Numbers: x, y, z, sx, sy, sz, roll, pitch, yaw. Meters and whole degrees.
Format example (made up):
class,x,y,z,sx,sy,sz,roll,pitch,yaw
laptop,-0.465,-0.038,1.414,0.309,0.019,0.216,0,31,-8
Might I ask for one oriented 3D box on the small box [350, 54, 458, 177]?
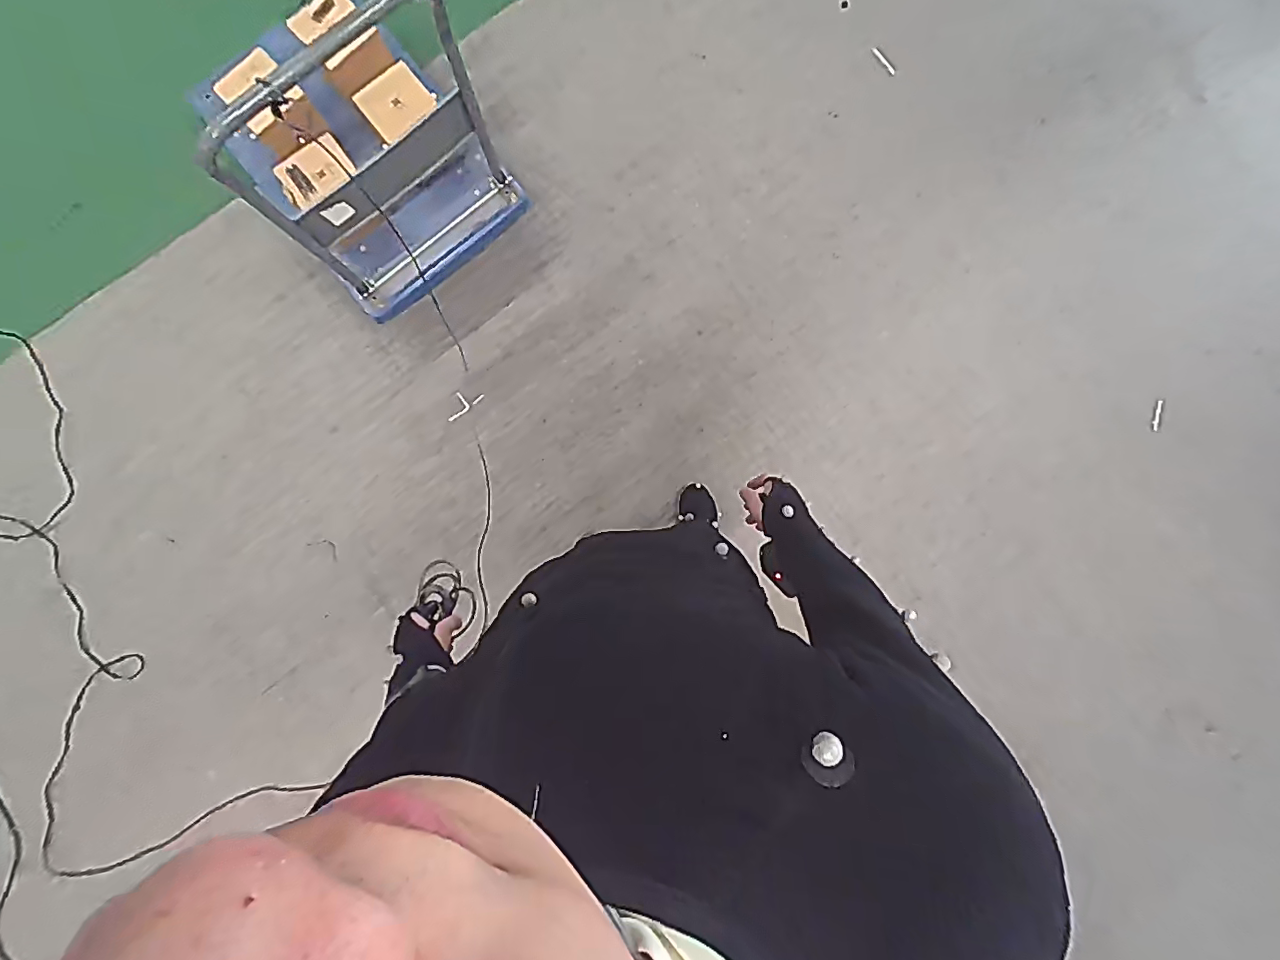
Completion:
class,x,y,z,sx,sy,sz,roll,pitch,yaw
small box,-0.624,-0.966,1.448,0.168,0.176,0.179,-38,89,-3

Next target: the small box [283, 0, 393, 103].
class,x,y,z,sx,sy,sz,roll,pitch,yaw
small box,-0.796,-1.175,1.457,0.168,0.176,0.179,-43,89,-2

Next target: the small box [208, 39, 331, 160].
class,x,y,z,sx,sy,sz,roll,pitch,yaw
small box,-0.978,-1.001,1.446,0.168,0.176,0.179,-43,88,-3
